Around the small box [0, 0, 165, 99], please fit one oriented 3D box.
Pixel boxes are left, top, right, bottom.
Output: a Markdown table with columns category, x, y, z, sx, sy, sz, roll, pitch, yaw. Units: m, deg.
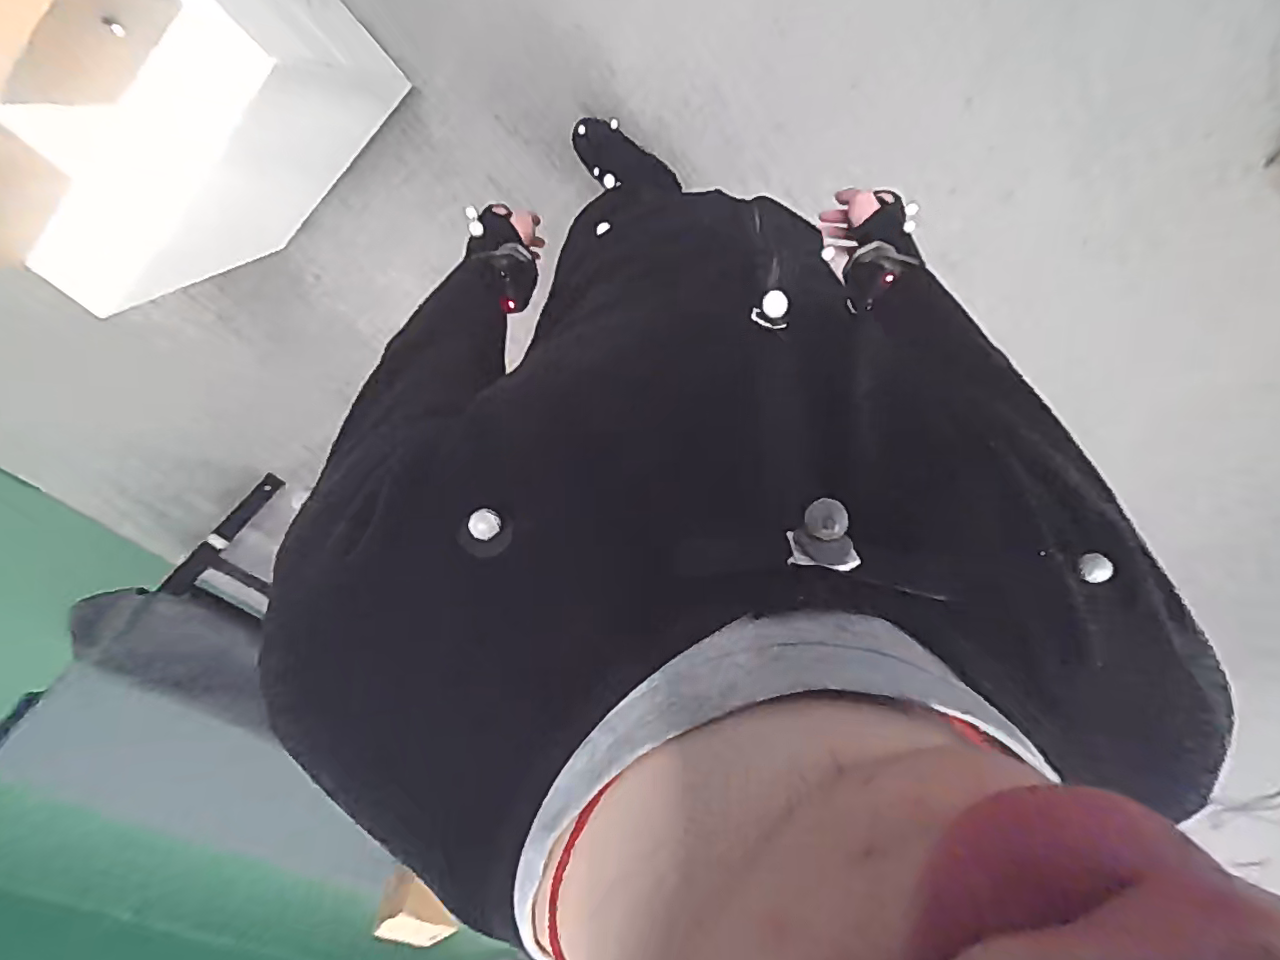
| category | x | y | z | sx | sy | sz | roll | pitch | yaw |
| --- | --- | --- | --- | --- | --- | --- | --- | --- | --- |
| small box | -0.653 | -0.535 | 0.556 | 0.179 | 0.176 | 0.168 | -33 | 119 | 20 |

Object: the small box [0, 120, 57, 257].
| category | x | y | z | sx | sy | sz | roll | pitch | yaw |
| --- | --- | --- | --- | --- | --- | --- | --- | --- | --- |
| small box | -0.886 | -0.374 | 0.652 | 0.179 | 0.176 | 0.168 | -36 | 119 | 18 |

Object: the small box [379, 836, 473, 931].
| category | x | y | z | sx | sy | sz | roll | pitch | yaw |
| --- | --- | --- | --- | --- | --- | --- | --- | --- | --- |
| small box | -0.621 | 1.181 | 1.590 | 0.179 | 0.176 | 0.168 | 37 | 116 | -23 |
